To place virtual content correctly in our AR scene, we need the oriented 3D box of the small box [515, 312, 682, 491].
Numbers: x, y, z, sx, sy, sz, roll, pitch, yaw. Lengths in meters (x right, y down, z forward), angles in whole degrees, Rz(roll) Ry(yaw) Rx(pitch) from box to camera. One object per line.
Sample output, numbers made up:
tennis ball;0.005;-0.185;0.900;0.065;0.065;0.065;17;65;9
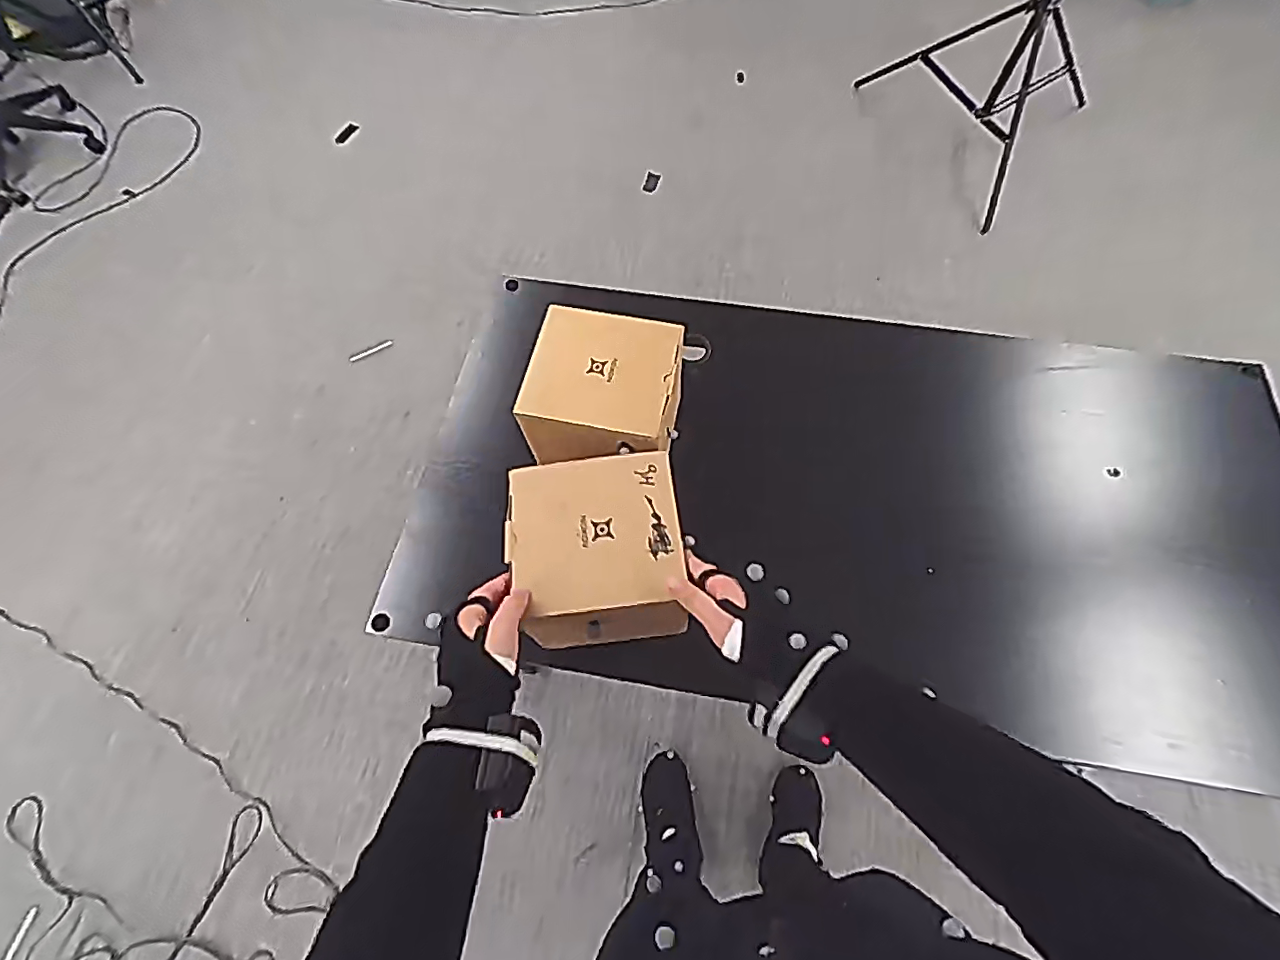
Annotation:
small box;-0.046;-0.099;0.733;0.179;0.176;0.168;10;67;5
